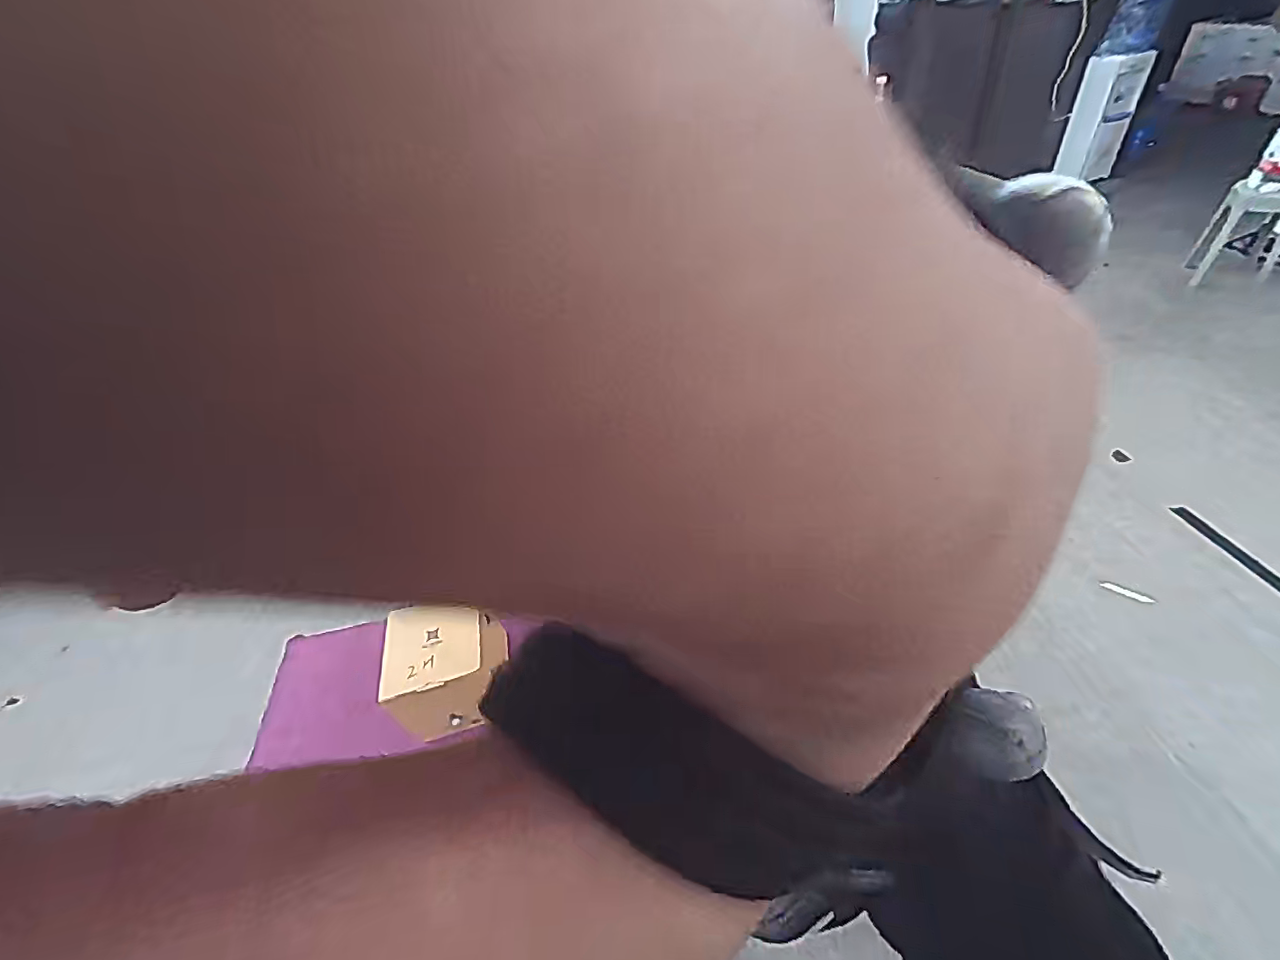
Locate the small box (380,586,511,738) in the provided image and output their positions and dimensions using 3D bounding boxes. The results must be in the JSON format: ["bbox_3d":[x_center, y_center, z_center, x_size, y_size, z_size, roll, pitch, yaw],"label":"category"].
[{"bbox_3d":[-0.336,0.324,0.966,0.168,0.176,0.179,-15,43,-4],"label":"small box"}]
